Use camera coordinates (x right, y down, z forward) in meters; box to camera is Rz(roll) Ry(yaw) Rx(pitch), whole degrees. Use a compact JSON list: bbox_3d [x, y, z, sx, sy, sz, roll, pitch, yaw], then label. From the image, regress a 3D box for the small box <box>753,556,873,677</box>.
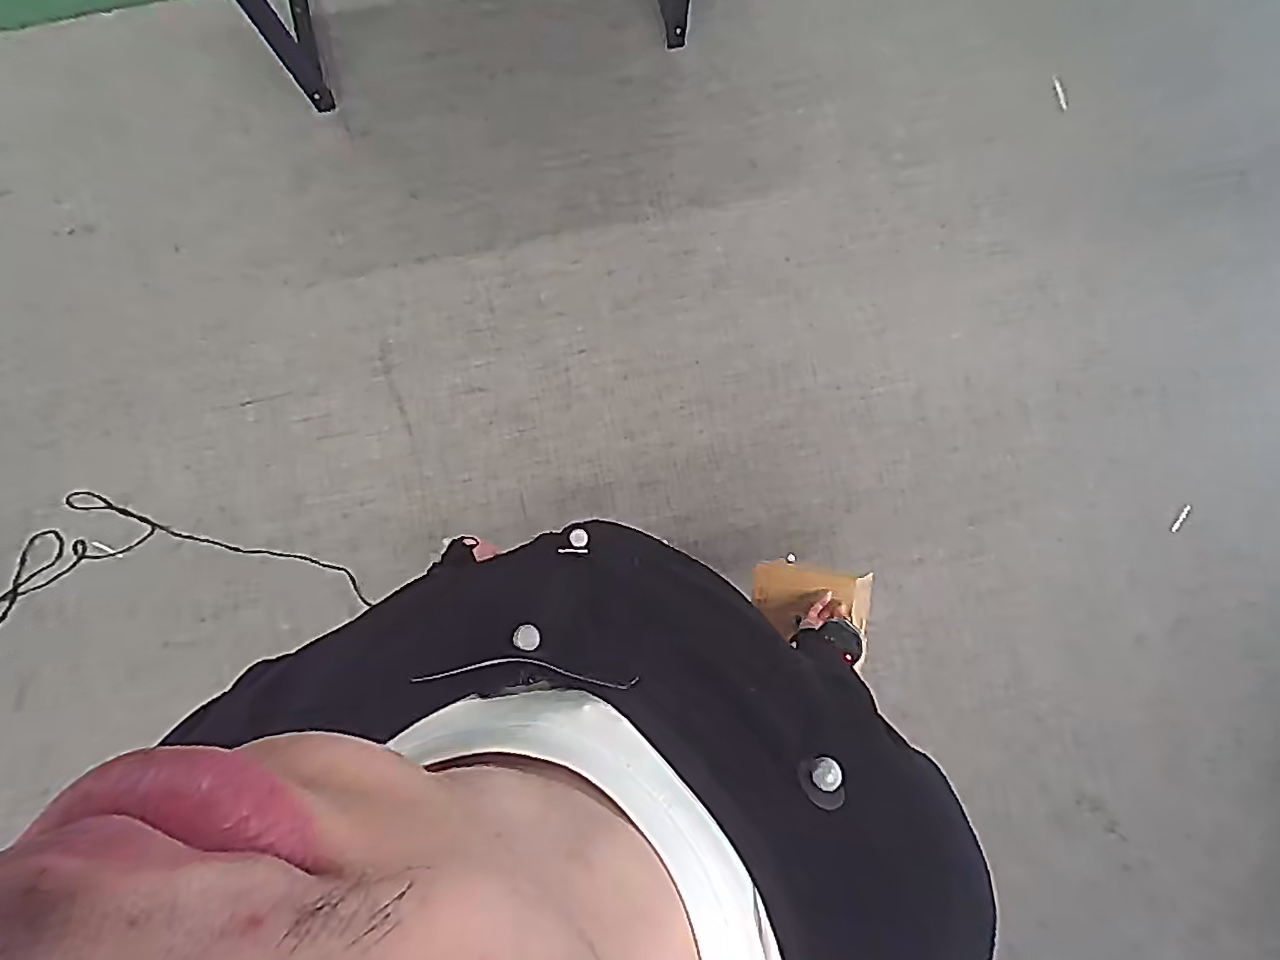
[{"bbox_3d":[0.307,0.229,0.953,0.176,0.179,0.168,2,90,32],"label":"small box"}]
